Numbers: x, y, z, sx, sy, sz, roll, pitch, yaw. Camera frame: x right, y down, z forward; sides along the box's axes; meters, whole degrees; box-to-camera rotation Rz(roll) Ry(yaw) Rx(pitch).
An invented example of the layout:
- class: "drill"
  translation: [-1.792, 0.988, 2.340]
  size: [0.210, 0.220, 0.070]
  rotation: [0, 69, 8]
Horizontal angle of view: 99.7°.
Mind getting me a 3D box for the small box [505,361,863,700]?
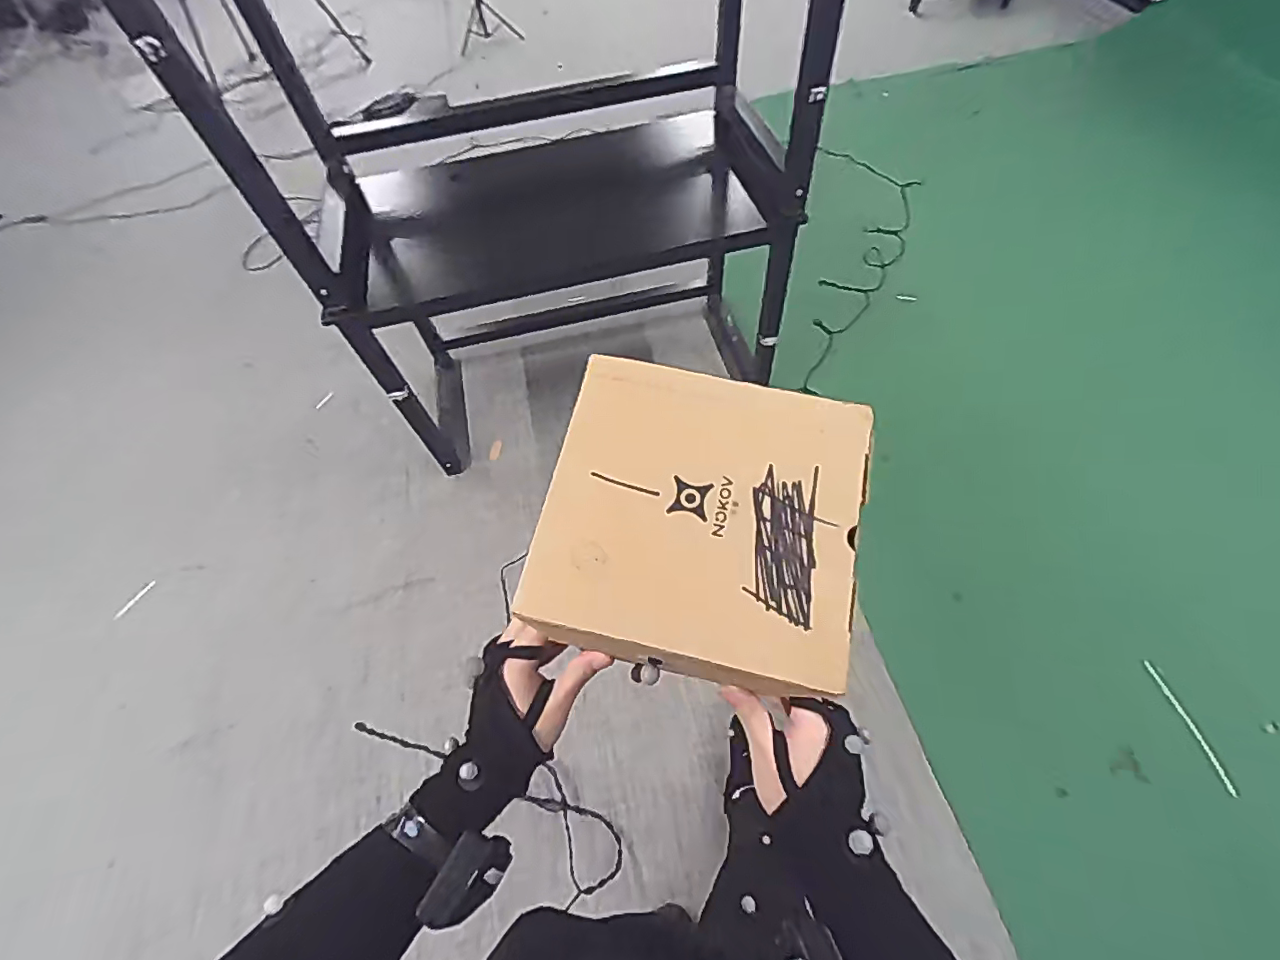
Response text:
- class: "small box"
  translation: [0.032, 0.047, 0.379]
  size: [0.179, 0.176, 0.168]
  rotation: [12, 68, 6]
